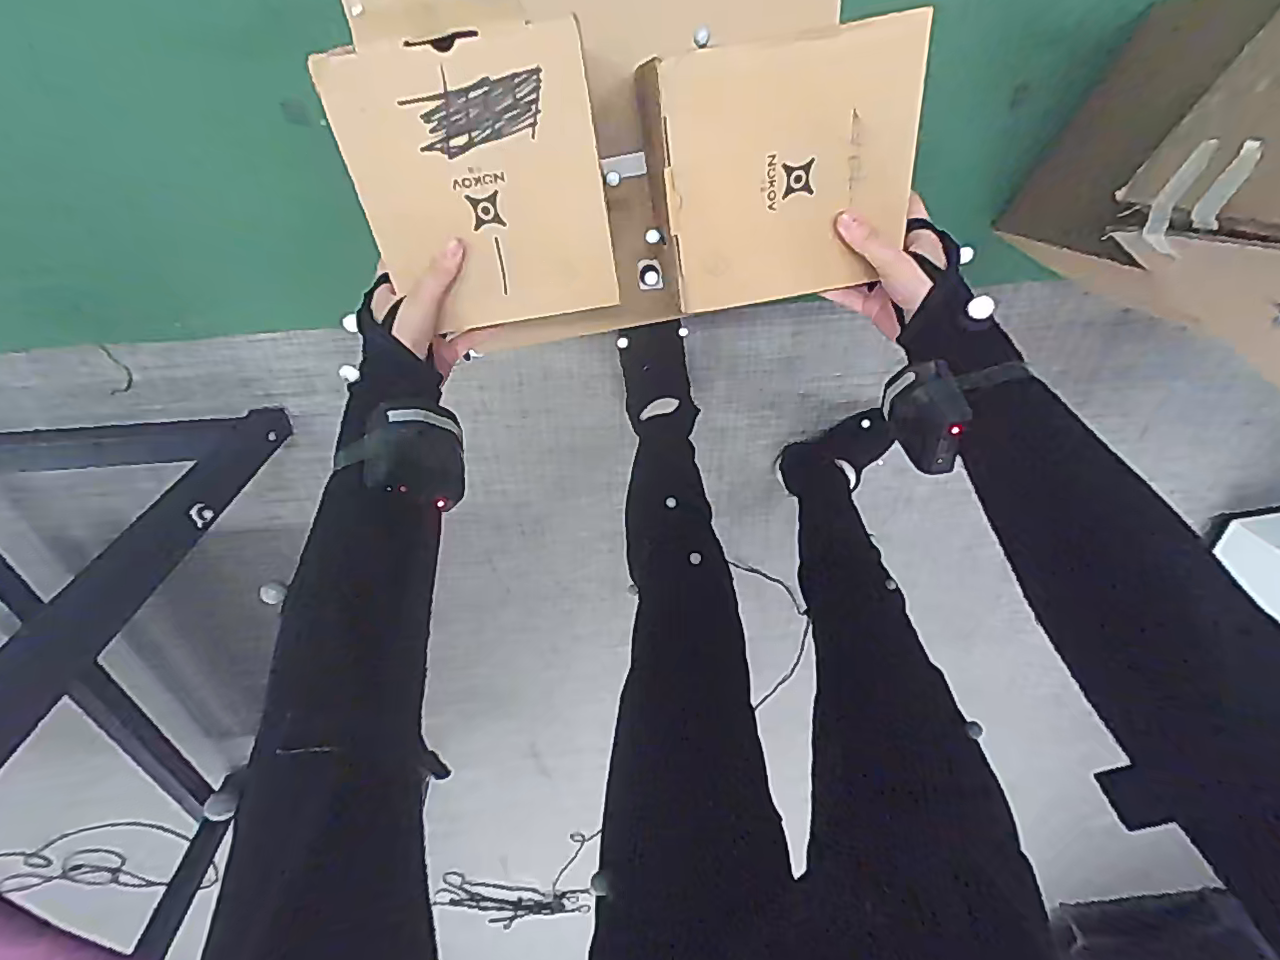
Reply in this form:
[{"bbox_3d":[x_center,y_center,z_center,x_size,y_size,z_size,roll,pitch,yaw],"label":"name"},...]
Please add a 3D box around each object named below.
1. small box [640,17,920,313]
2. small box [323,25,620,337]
[{"bbox_3d":[0.097,-0.257,0.452,0.179,0.176,0.168,-10,125,1],"label":"small box"},{"bbox_3d":[-0.114,-0.238,0.444,0.168,0.176,0.179,-9,124,1],"label":"small box"}]
